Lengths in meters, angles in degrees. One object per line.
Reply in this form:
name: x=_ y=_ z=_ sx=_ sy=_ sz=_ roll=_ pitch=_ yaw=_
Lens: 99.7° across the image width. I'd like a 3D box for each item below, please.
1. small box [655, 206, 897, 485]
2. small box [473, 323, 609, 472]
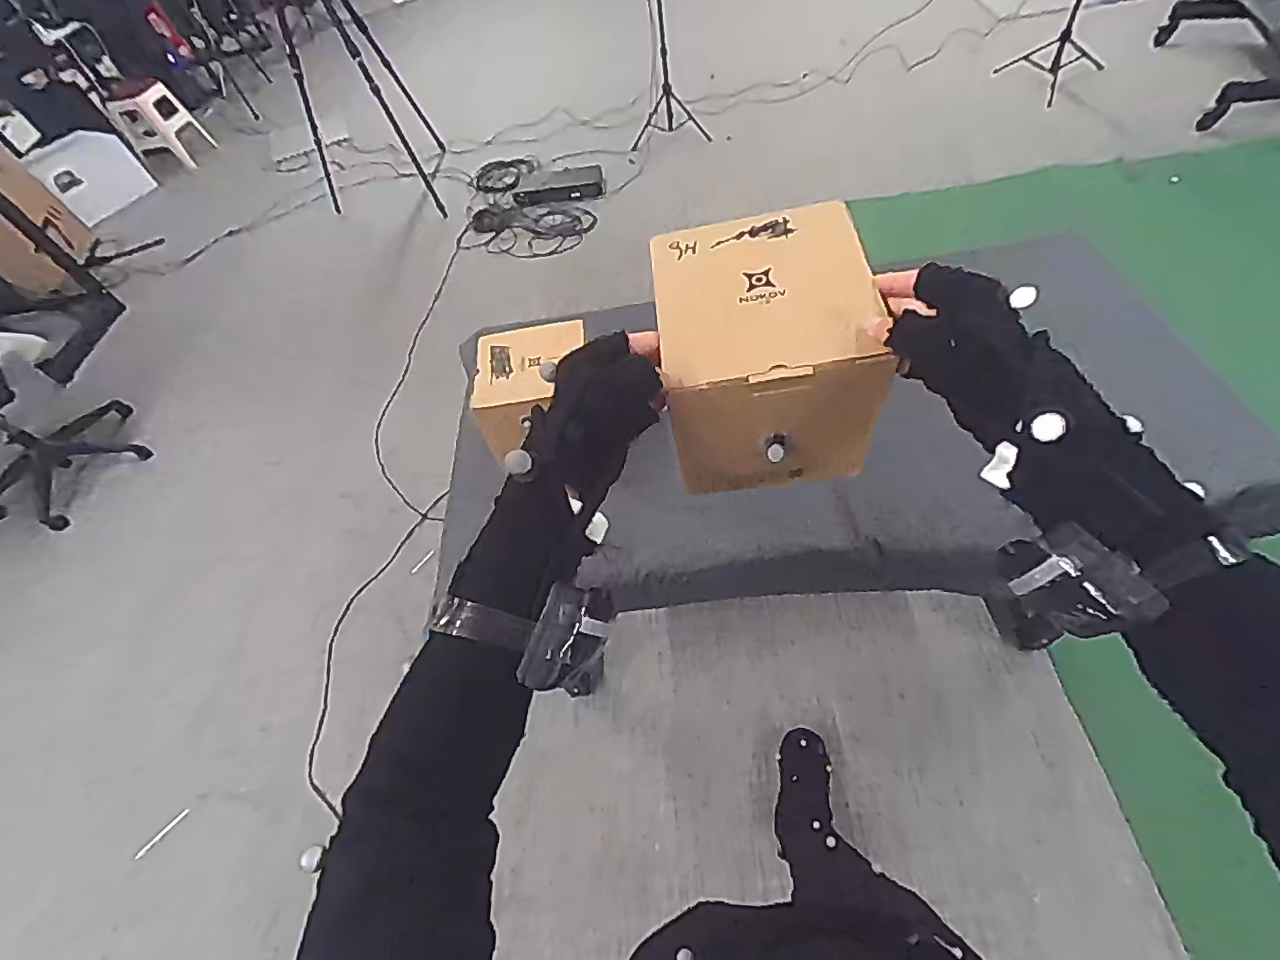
small box: x=0.111 y=-0.107 z=0.494 sx=0.168 sy=0.176 sz=0.179 roll=-8 pitch=61 yaw=7
small box: x=-0.154 y=-0.129 z=0.893 sx=0.179 sy=0.176 sz=0.168 roll=-8 pitch=54 yaw=3
